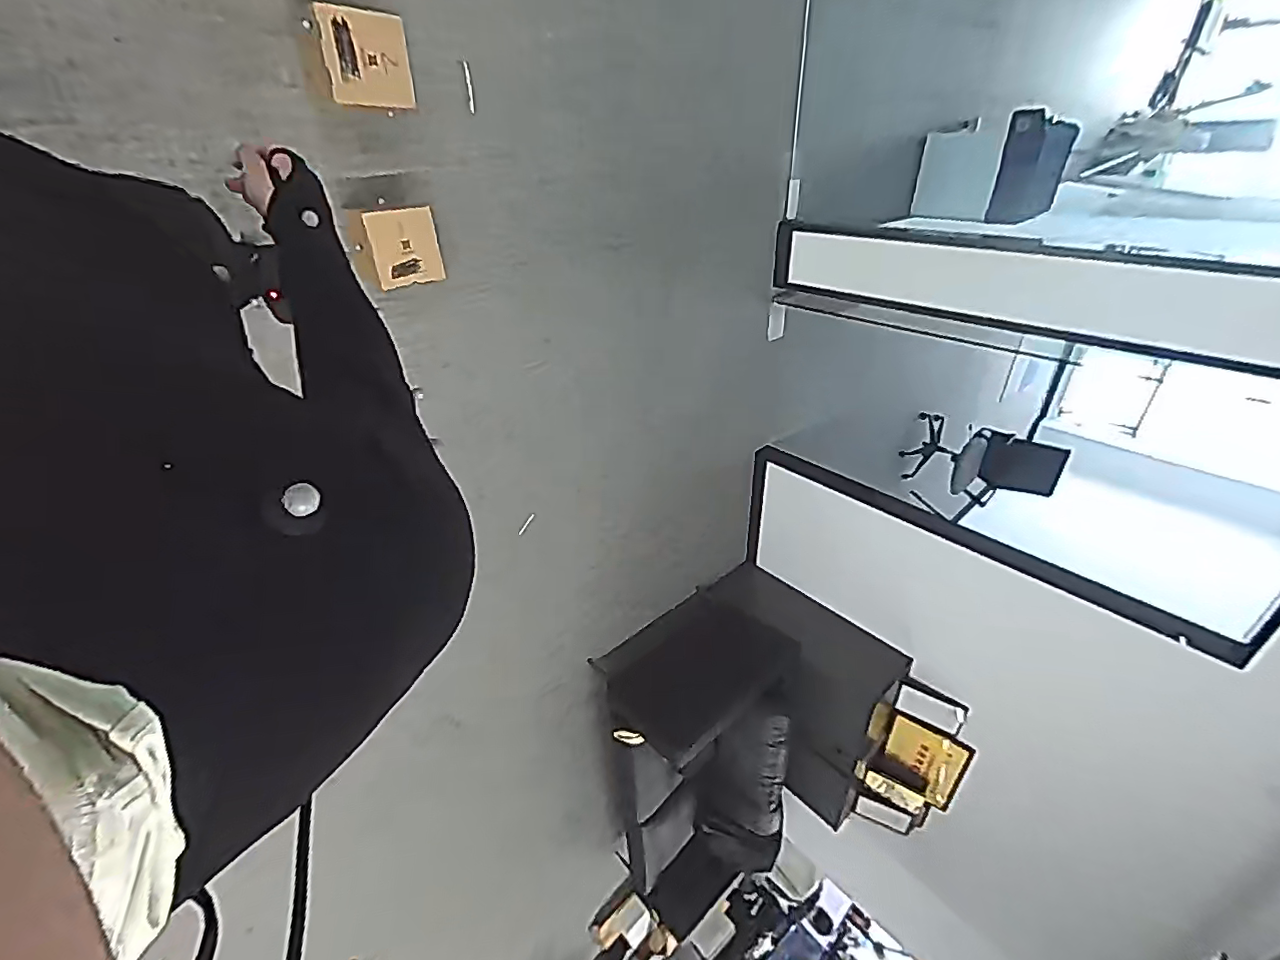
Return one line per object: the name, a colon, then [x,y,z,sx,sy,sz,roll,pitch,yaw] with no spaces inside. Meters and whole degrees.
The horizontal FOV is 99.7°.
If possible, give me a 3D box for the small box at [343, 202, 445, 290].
small box: [-0.623,-0.598,1.371,0.168,0.176,0.179,-26,129,-33]
